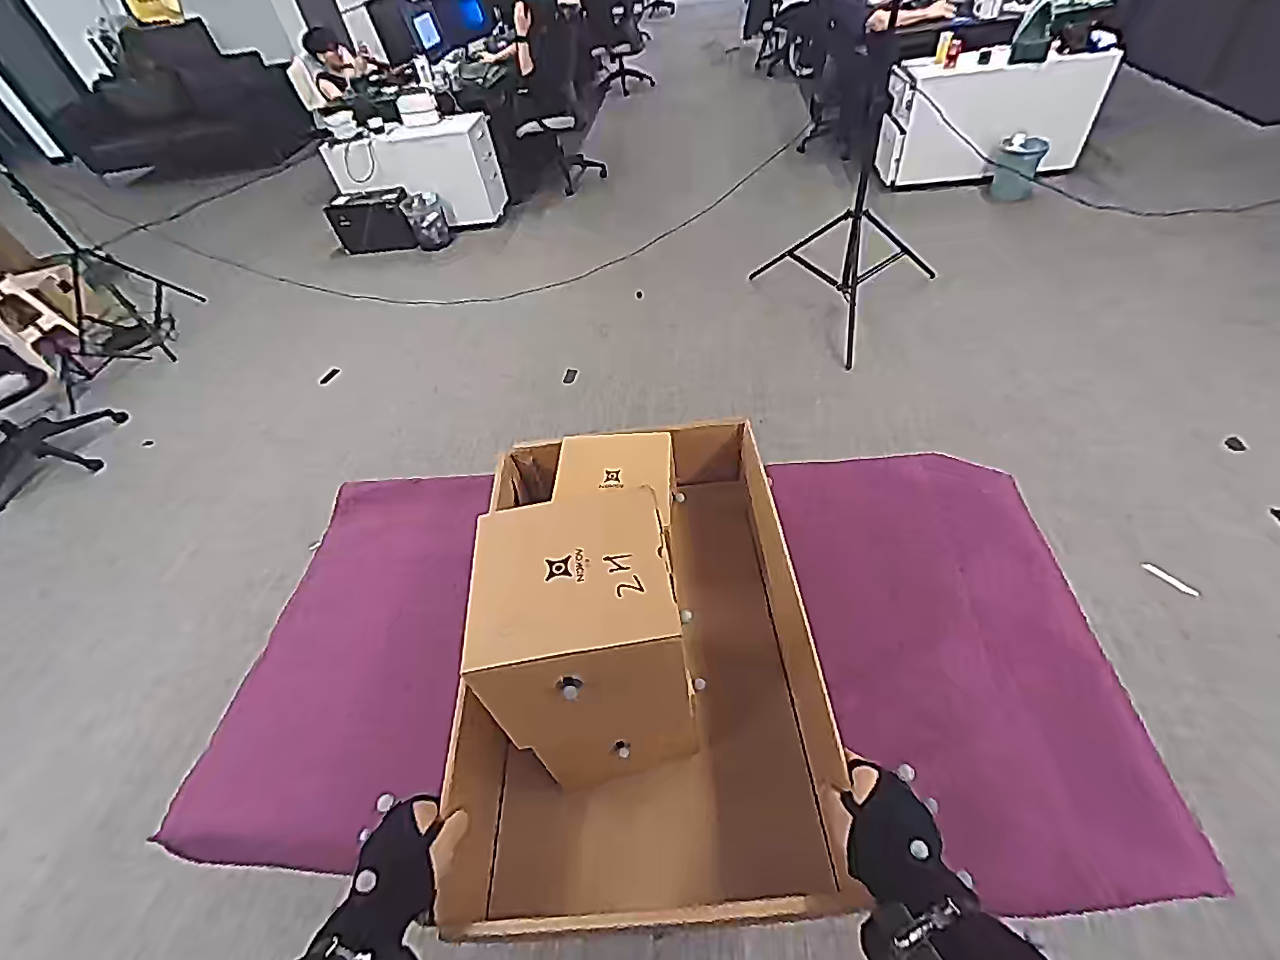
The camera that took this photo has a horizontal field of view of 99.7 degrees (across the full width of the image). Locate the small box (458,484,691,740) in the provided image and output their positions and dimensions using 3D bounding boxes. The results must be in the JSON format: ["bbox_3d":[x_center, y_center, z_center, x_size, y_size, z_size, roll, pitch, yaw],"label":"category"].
[{"bbox_3d":[-0.053,0.131,0.522,0.179,0.176,0.168,-9,46,0],"label":"small box"}]
